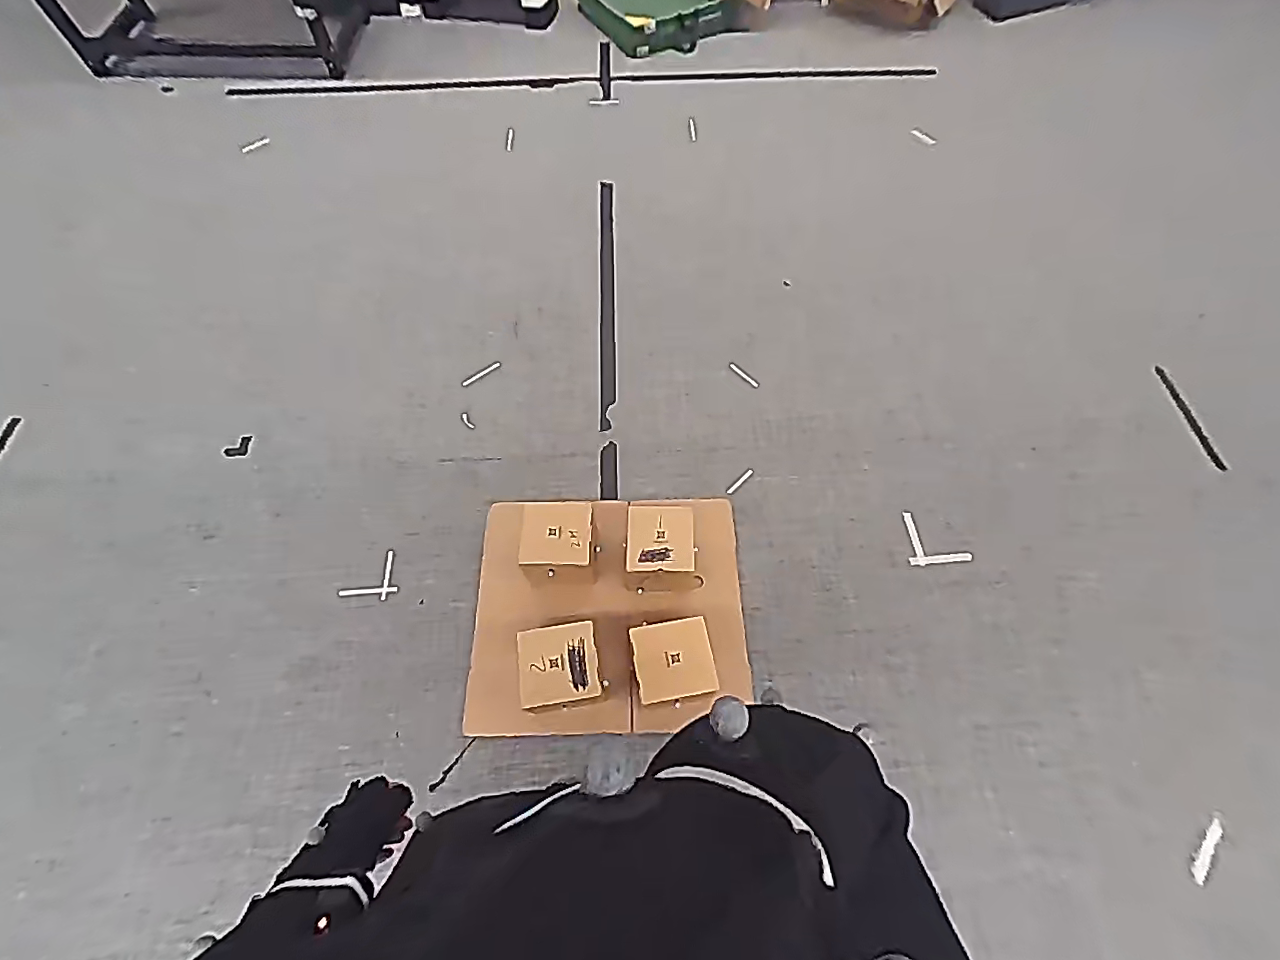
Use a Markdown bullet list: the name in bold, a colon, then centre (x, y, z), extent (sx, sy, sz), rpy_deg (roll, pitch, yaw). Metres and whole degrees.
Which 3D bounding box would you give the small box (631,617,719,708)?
- **small box**: centre (0.076, 0.436, 1.282), extent (0.179, 0.176, 0.168), rpy_deg (-10, 63, -3)
